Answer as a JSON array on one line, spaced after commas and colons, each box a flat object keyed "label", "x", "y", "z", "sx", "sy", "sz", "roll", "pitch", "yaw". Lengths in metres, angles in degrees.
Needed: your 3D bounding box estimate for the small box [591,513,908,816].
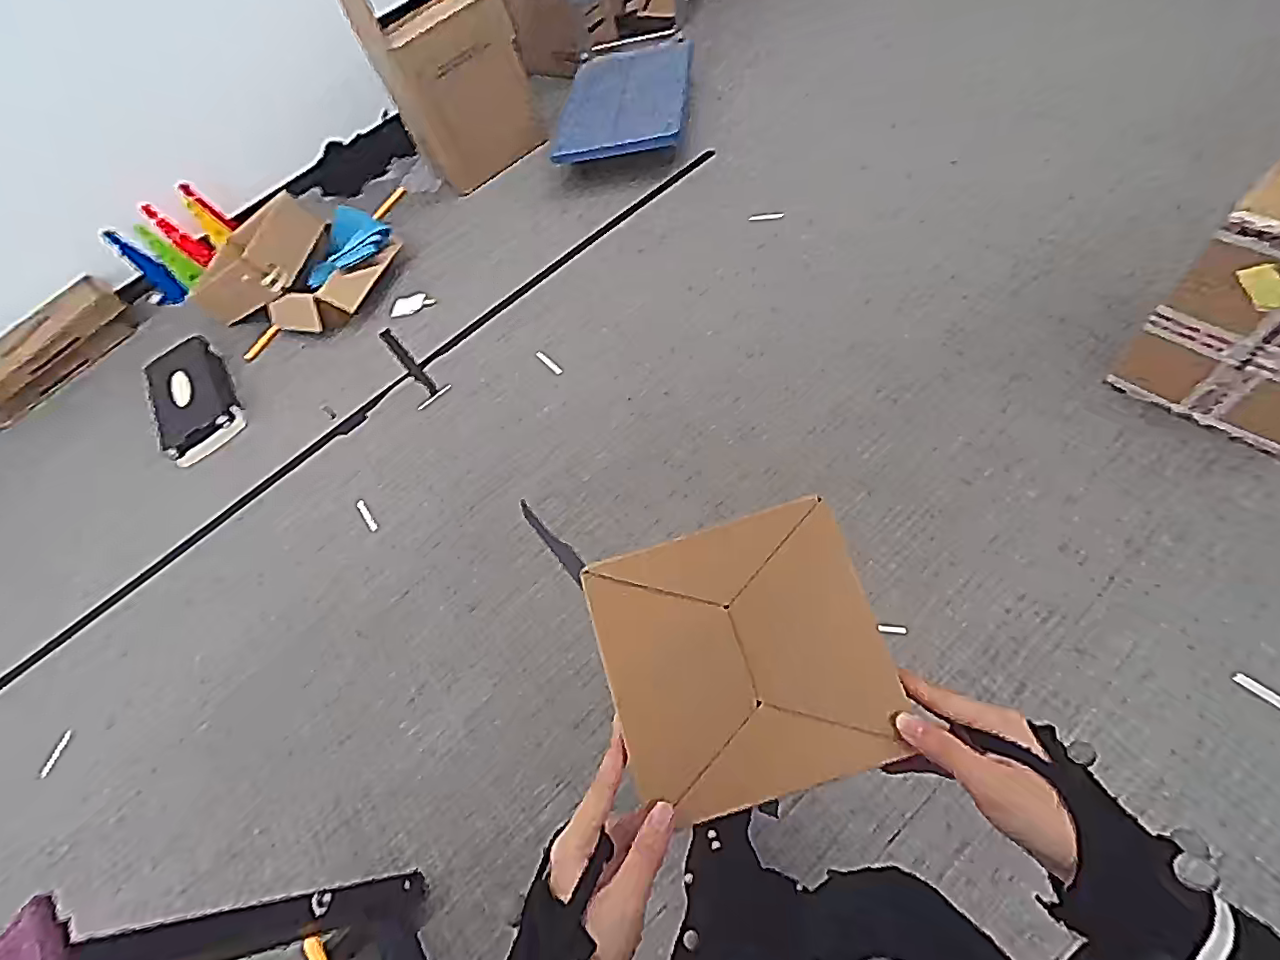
[{"label": "small box", "x": 0.069, "y": 0.136, "z": 0.426, "sx": 0.179, "sy": 0.176, "sz": 0.168, "roll": -16, "pitch": 74, "yaw": 0}]
